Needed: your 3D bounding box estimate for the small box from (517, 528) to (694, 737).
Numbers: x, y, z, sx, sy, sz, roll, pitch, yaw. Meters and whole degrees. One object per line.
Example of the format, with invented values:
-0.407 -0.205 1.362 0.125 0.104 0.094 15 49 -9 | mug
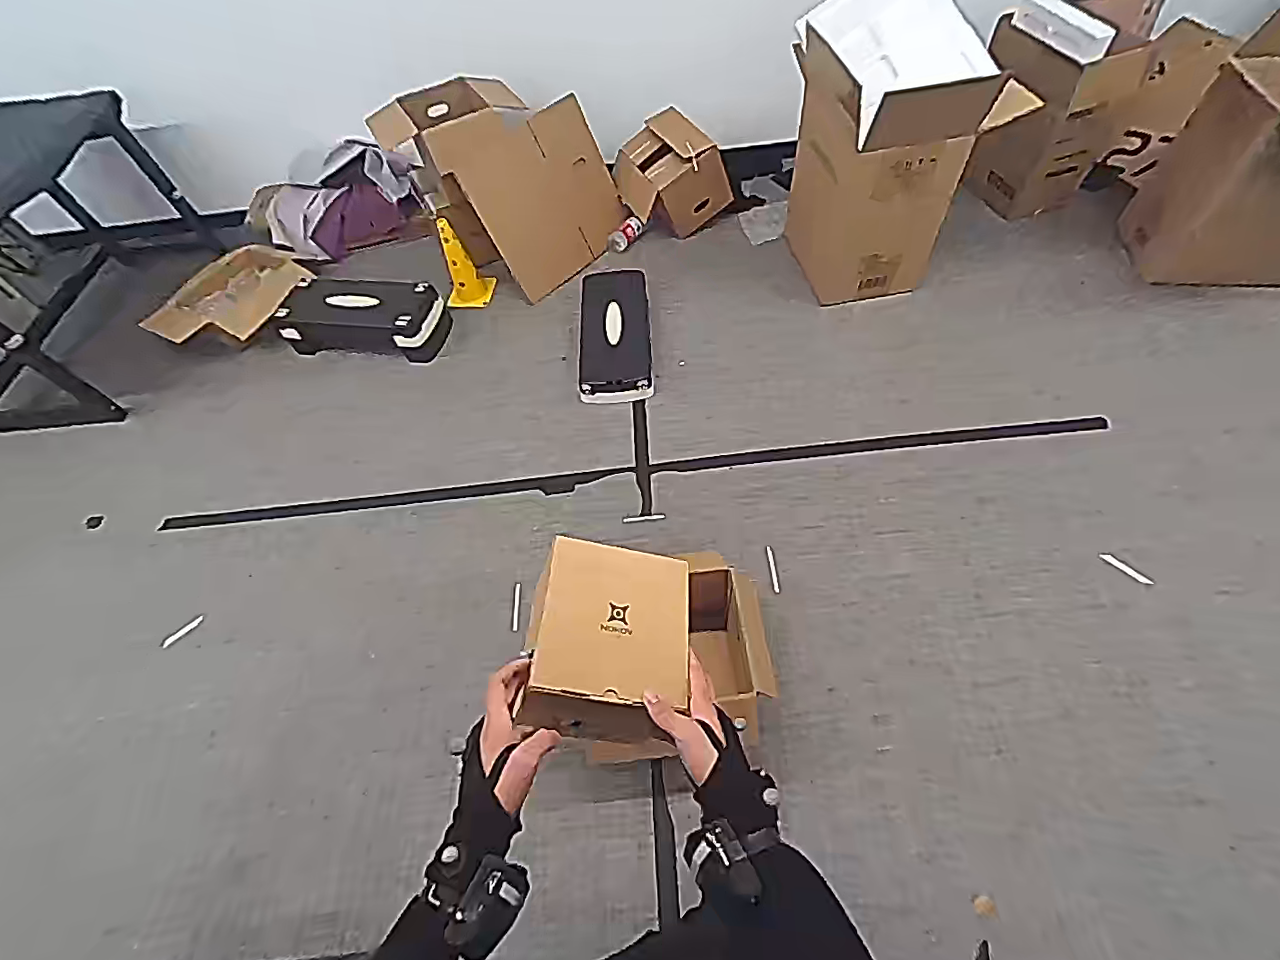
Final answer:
-0.043 0.186 0.642 0.168 0.176 0.179 13 52 -12 | small box
